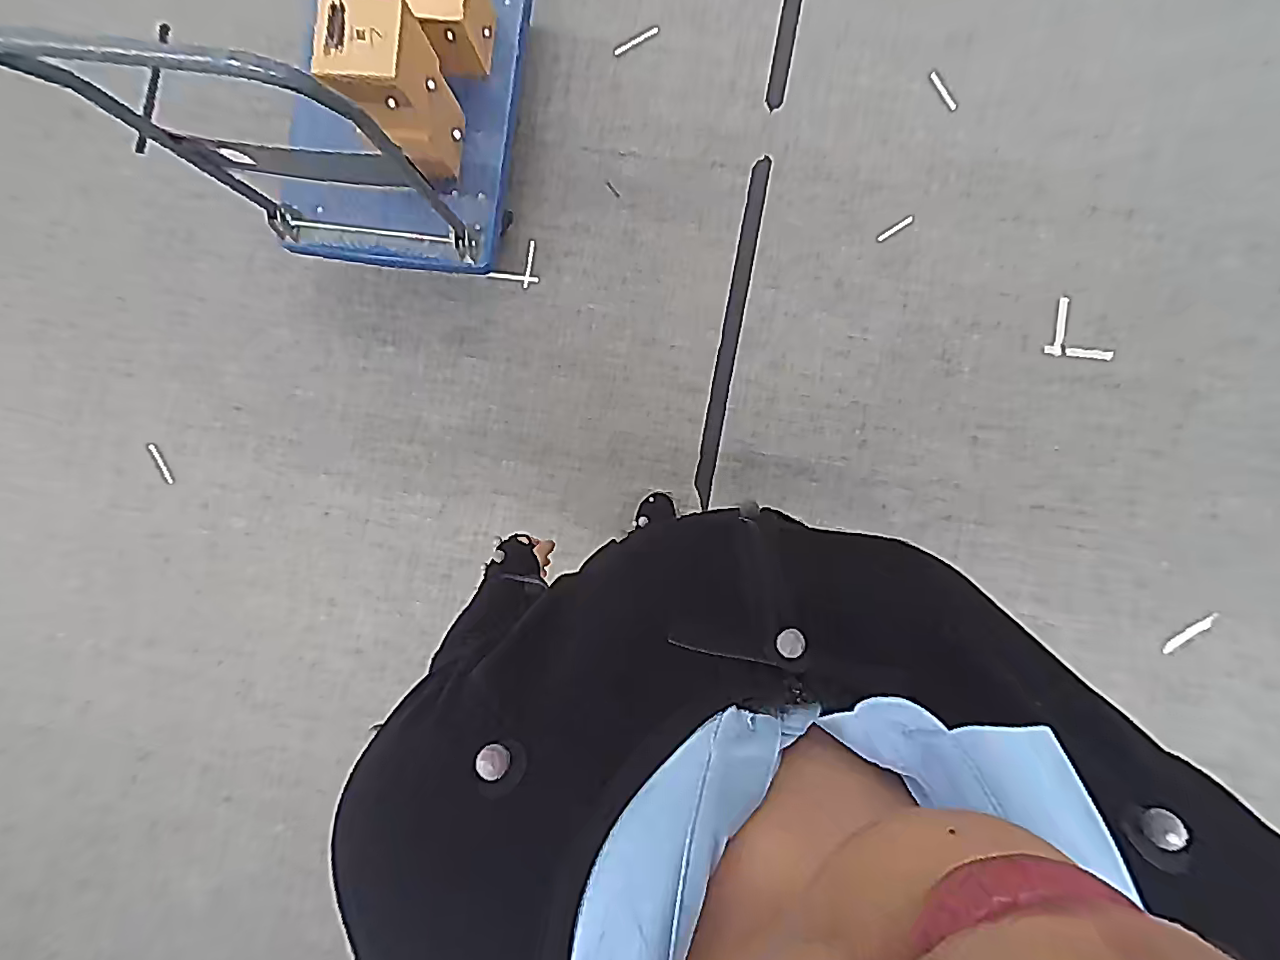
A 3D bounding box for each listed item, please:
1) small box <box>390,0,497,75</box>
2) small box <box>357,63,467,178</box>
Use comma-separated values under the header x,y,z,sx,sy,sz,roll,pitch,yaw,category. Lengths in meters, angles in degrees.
x,y,z,sx,sy,sz,roll,pitch,yaw,category
-0.465,-1.117,1.300,0.179,0.176,0.168,8,90,4,small box
-0.542,-0.855,1.301,0.179,0.176,0.168,7,90,4,small box
